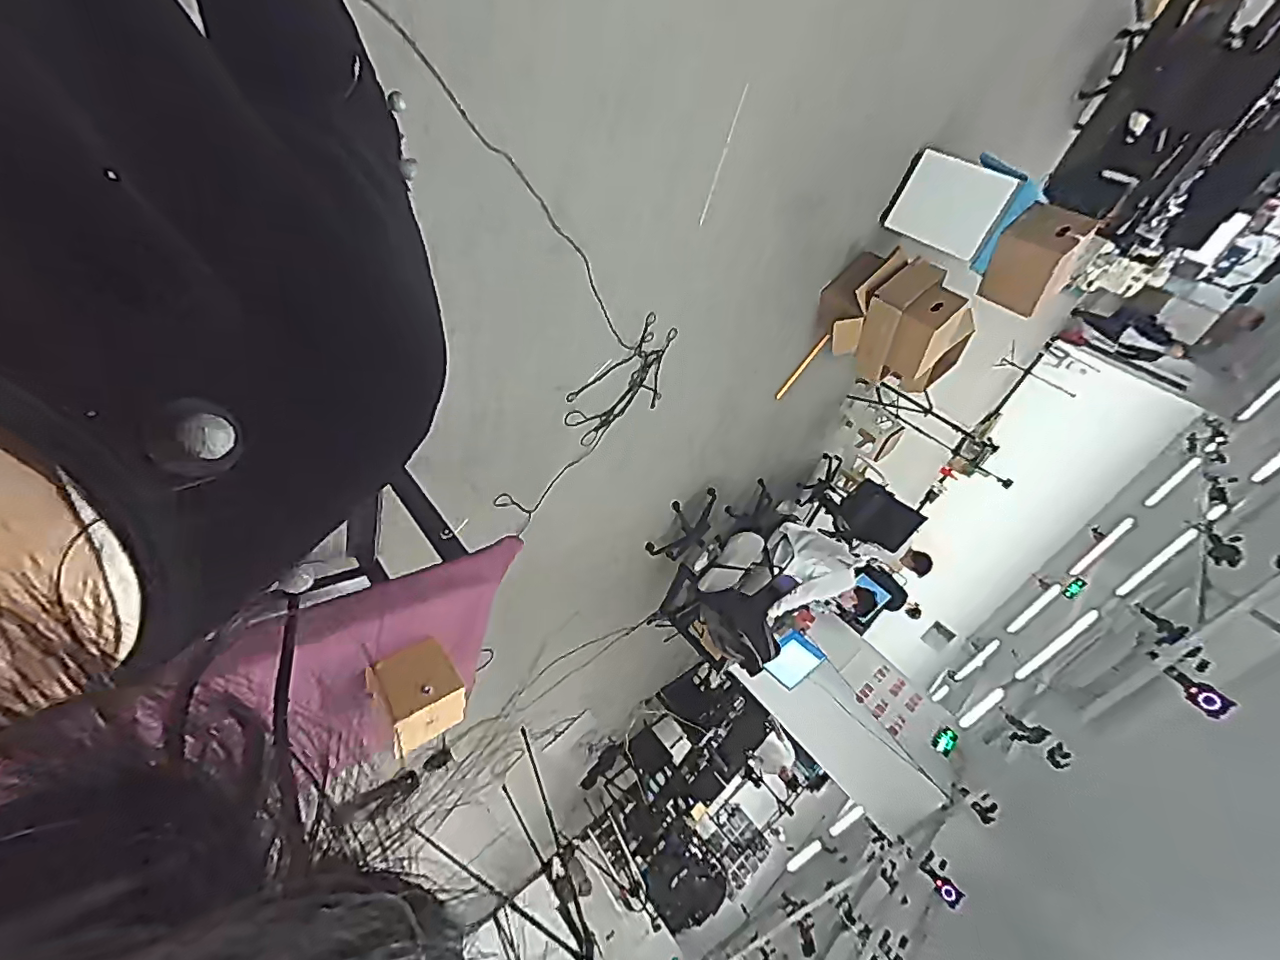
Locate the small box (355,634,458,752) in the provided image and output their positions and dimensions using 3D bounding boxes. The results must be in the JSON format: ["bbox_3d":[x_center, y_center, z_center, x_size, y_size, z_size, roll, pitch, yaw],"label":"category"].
[{"bbox_3d":[-0.568,0.509,1.313,0.179,0.176,0.168,-19,141,-40],"label":"small box"}]
